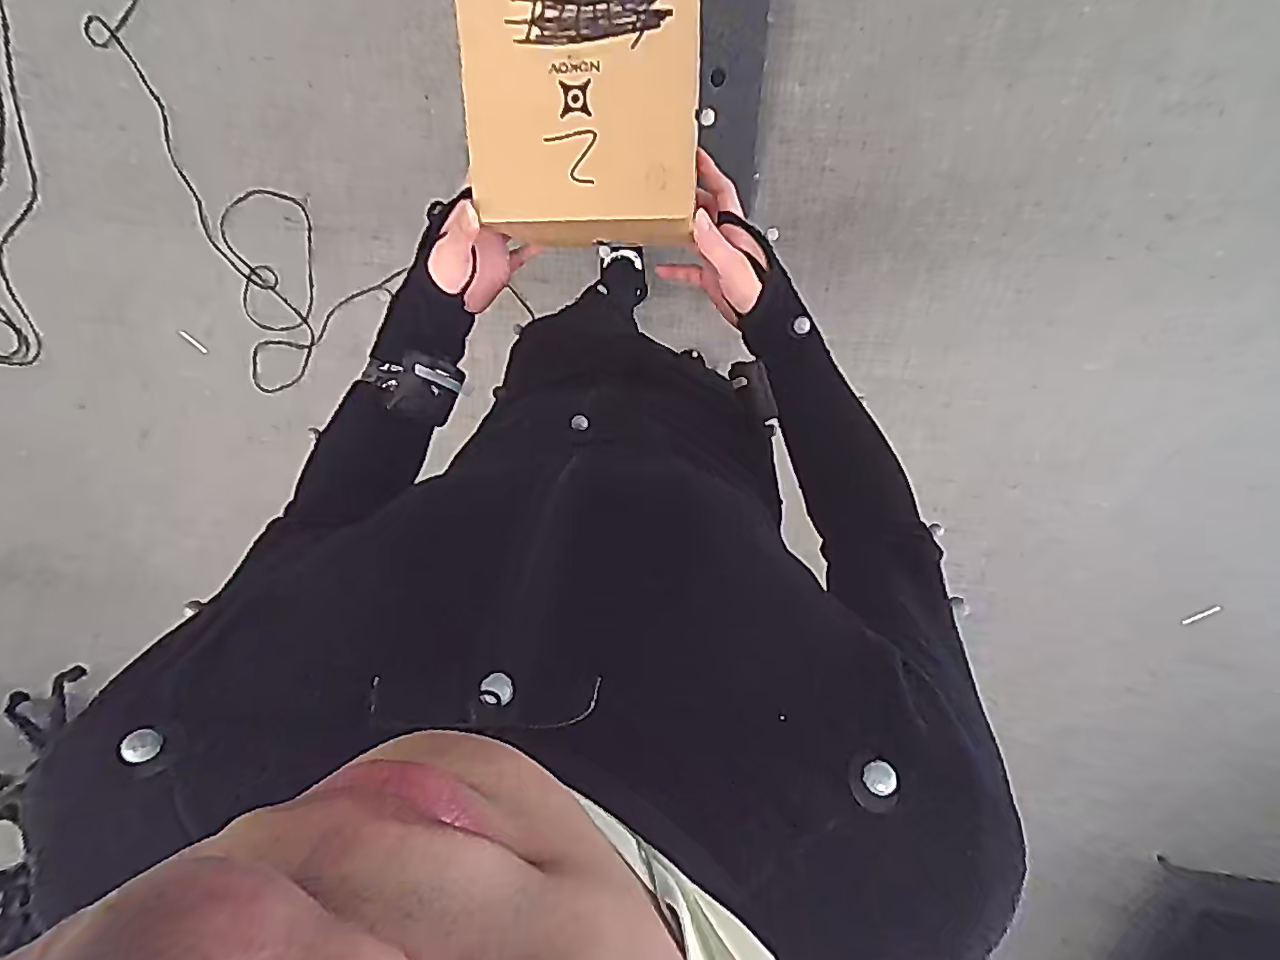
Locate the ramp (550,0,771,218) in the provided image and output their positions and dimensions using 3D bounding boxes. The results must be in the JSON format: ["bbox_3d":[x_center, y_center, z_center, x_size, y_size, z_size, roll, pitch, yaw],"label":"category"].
[{"bbox_3d":[0.042,-1.111,1.151,0.509,0.206,0.991,1,110,5],"label":"ramp"}]
